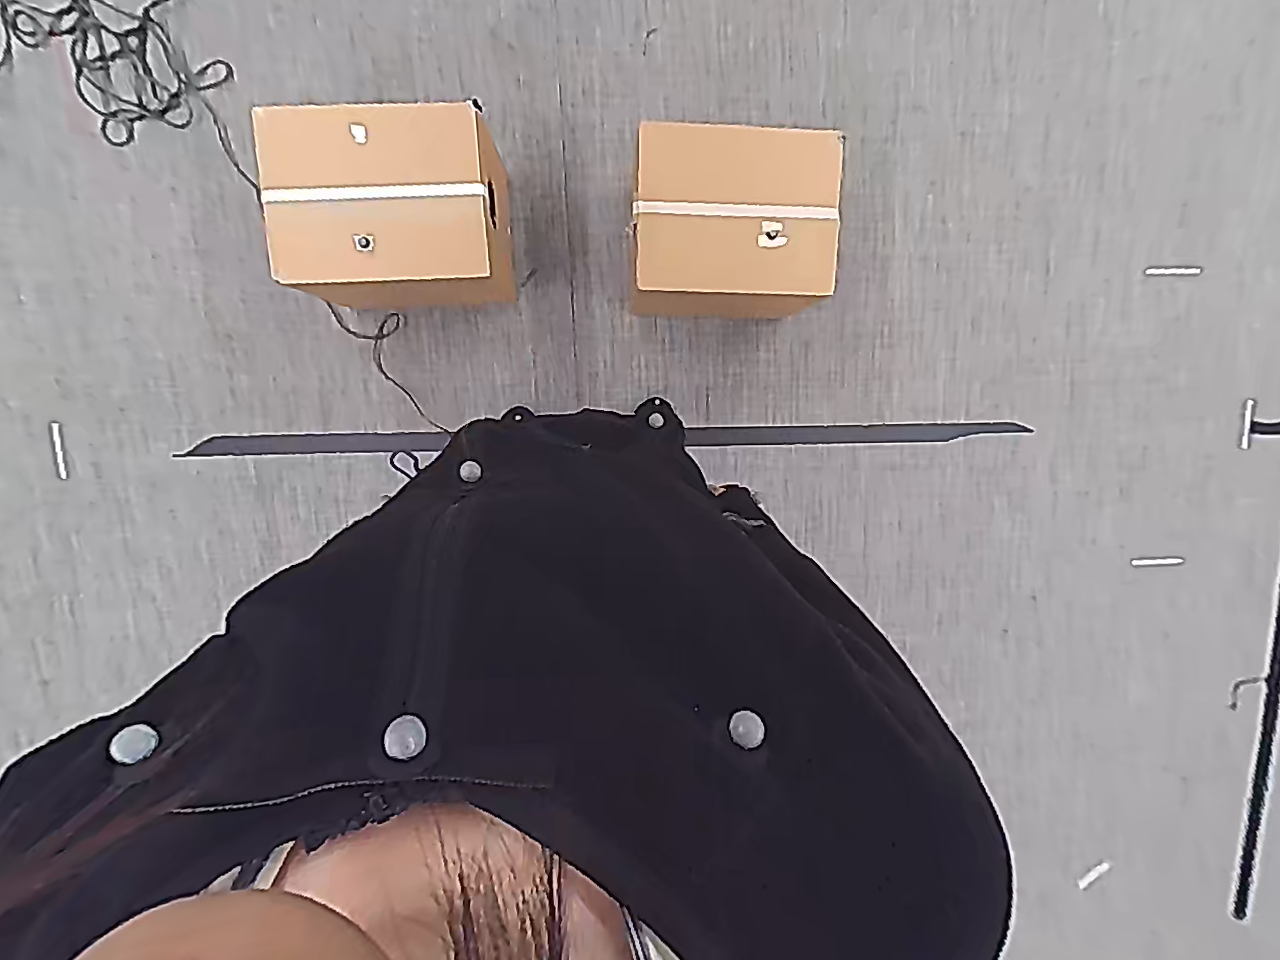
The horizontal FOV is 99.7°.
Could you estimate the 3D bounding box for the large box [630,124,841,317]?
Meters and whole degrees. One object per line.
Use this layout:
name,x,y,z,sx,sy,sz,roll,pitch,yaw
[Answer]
large box,0.186,-0.553,1.221,0.408,0.320,0.320,1,98,-5
